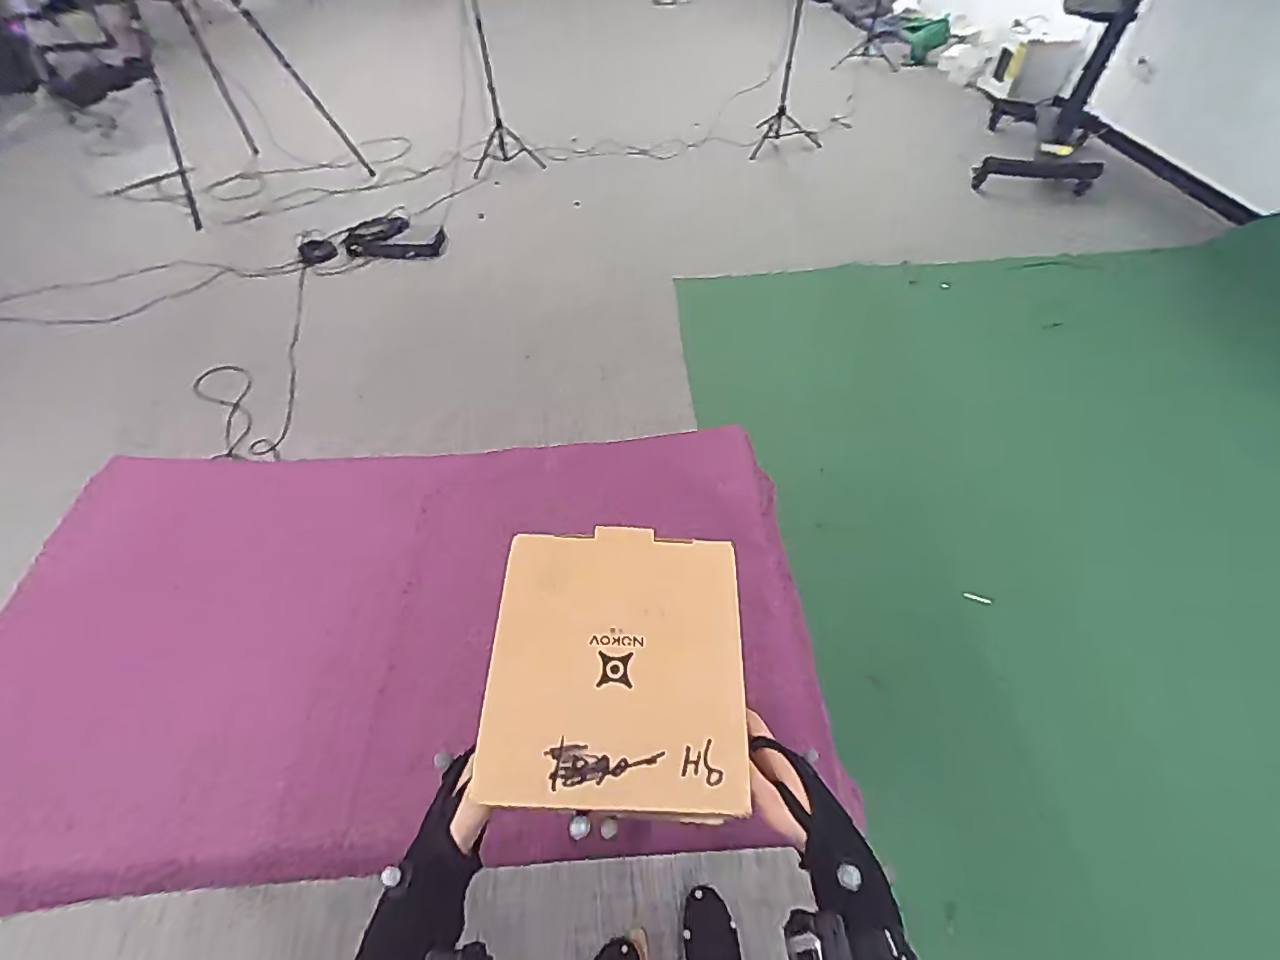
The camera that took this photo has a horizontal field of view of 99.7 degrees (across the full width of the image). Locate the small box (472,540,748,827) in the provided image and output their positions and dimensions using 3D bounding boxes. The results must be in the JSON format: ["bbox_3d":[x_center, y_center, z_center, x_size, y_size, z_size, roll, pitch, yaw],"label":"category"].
[{"bbox_3d":[-0.015,0.165,0.426,0.168,0.176,0.179,1,57,2],"label":"small box"}]
